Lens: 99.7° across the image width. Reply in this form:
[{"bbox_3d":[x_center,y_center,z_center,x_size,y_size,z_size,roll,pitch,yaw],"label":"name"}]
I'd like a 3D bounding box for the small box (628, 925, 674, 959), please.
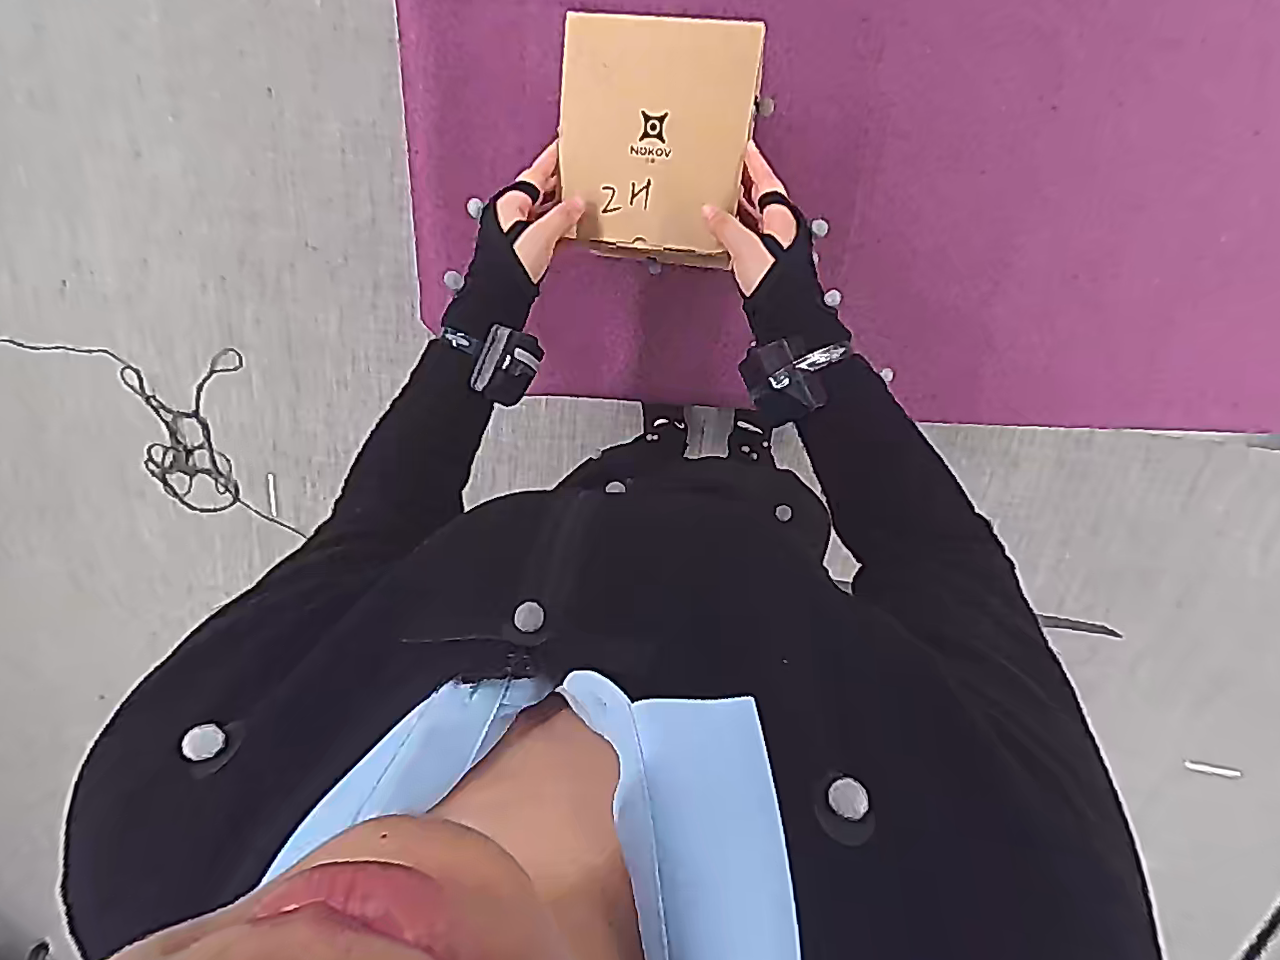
[{"bbox_3d":[0.039,1.799,1.994,0.168,0.176,0.179,3,108,5],"label":"small box"}]

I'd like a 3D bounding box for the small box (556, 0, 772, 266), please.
[{"bbox_3d":[0.026,-0.316,0.528,0.168,0.176,0.179,9,109,7],"label":"small box"}]
